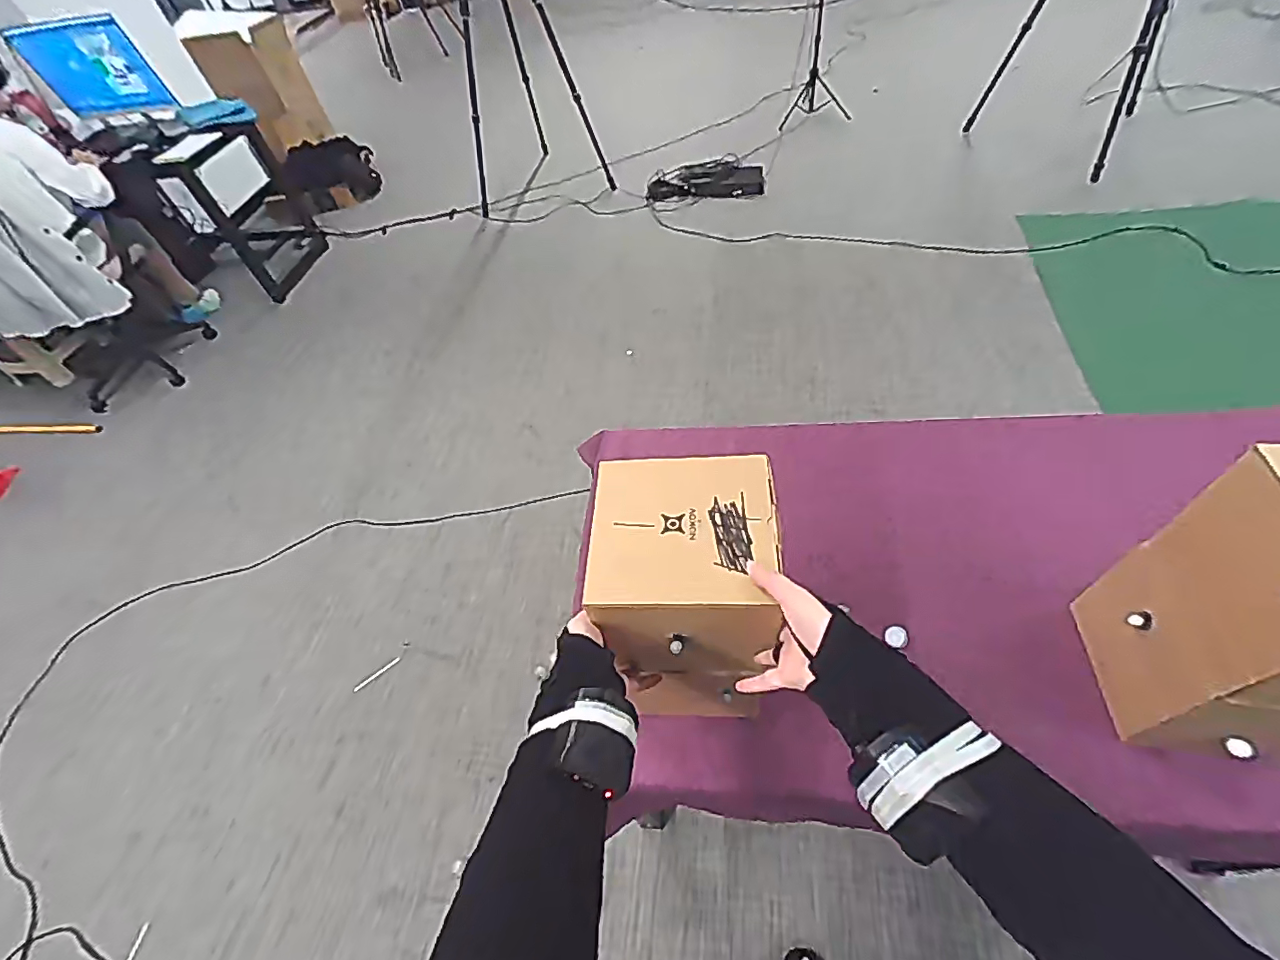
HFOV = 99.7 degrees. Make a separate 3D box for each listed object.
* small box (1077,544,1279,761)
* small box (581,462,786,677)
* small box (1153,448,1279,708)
[{"bbox_3d":[0.637,0.192,0.601,0.168,0.176,0.179,1,53,11],"label":"small box"},{"bbox_3d":[0.049,0.098,0.567,0.179,0.176,0.168,-2,52,8],"label":"small box"},{"bbox_3d":[0.618,0.092,0.474,0.168,0.176,0.179,2,53,11],"label":"small box"}]
